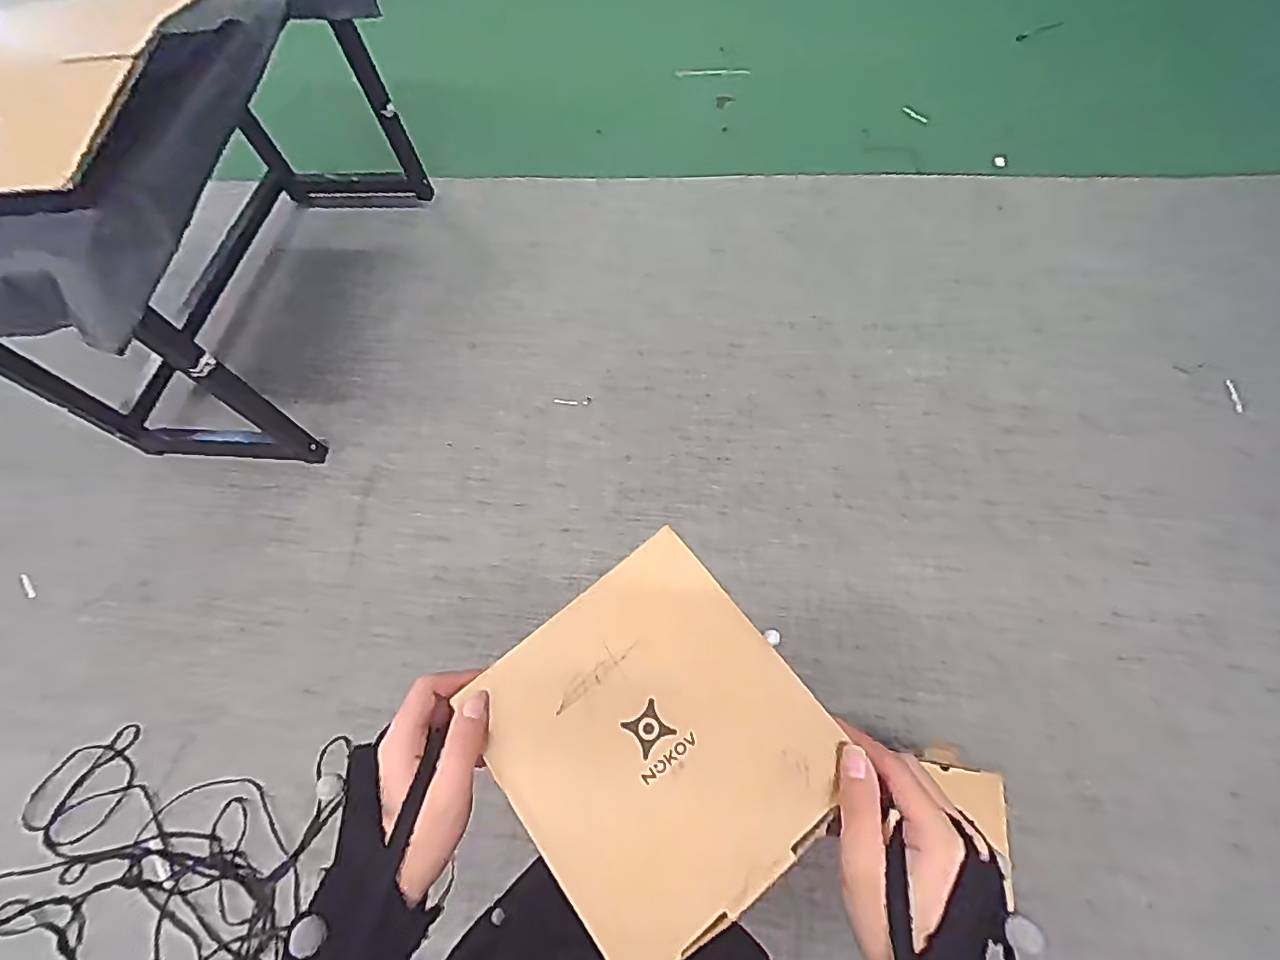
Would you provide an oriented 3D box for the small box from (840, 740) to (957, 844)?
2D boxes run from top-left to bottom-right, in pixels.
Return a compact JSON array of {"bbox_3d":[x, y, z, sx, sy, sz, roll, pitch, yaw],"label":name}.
[{"bbox_3d":[0.485,0.605,1.024,0.168,0.176,0.179,7,64,9],"label":"small box"}]

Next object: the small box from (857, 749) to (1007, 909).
[{"bbox_3d":[0.457,0.546,0.873,0.168,0.176,0.179,7,65,9],"label":"small box"}]
